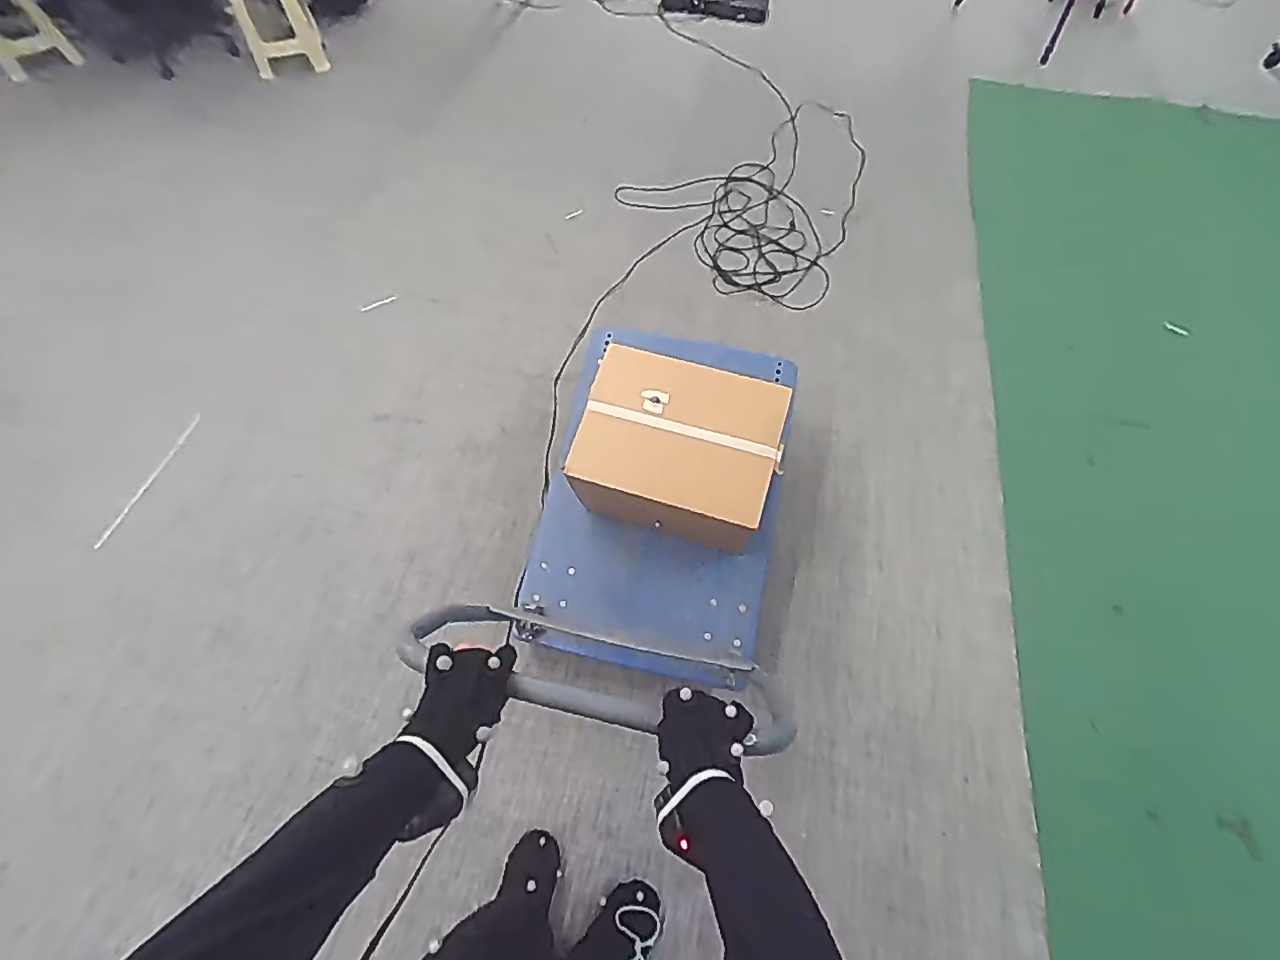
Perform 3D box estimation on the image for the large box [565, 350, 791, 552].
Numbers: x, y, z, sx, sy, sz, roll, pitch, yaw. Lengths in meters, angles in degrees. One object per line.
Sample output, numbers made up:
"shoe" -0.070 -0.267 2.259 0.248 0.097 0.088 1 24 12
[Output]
"large box" 0.093 -0.050 1.243 0.408 0.320 0.320 16 75 9
